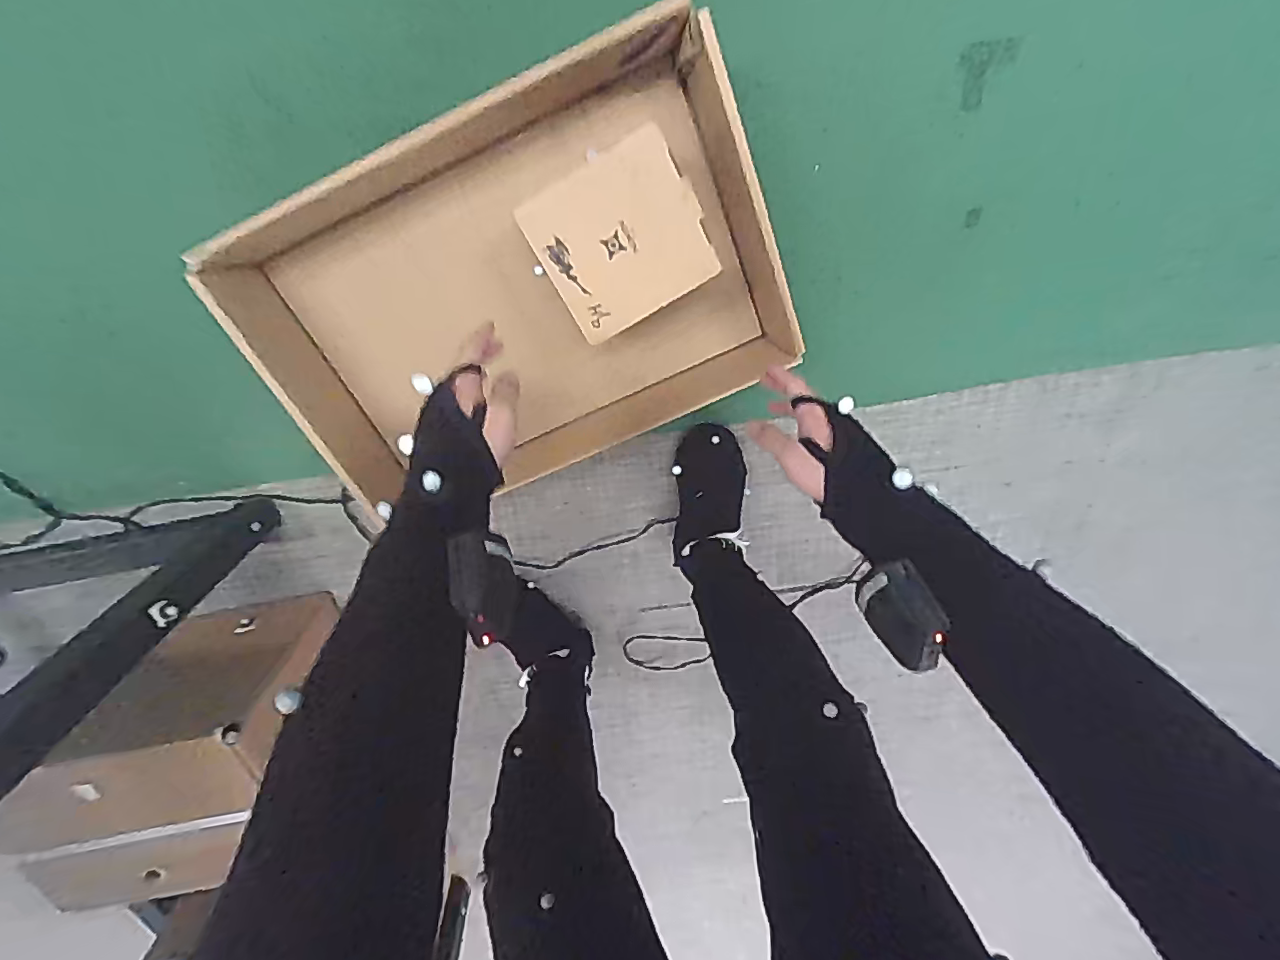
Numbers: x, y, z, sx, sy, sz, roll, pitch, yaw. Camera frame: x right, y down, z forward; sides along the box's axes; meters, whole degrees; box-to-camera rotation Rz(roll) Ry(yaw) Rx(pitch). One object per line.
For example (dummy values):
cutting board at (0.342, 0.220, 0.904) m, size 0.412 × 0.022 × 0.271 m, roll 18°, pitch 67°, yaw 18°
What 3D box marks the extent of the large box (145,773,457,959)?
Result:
large box at (-0.652, 0.870, 1.128) m, size 0.408 × 0.320 × 0.320 m, roll -8°, pitch 115°, yaw 0°
